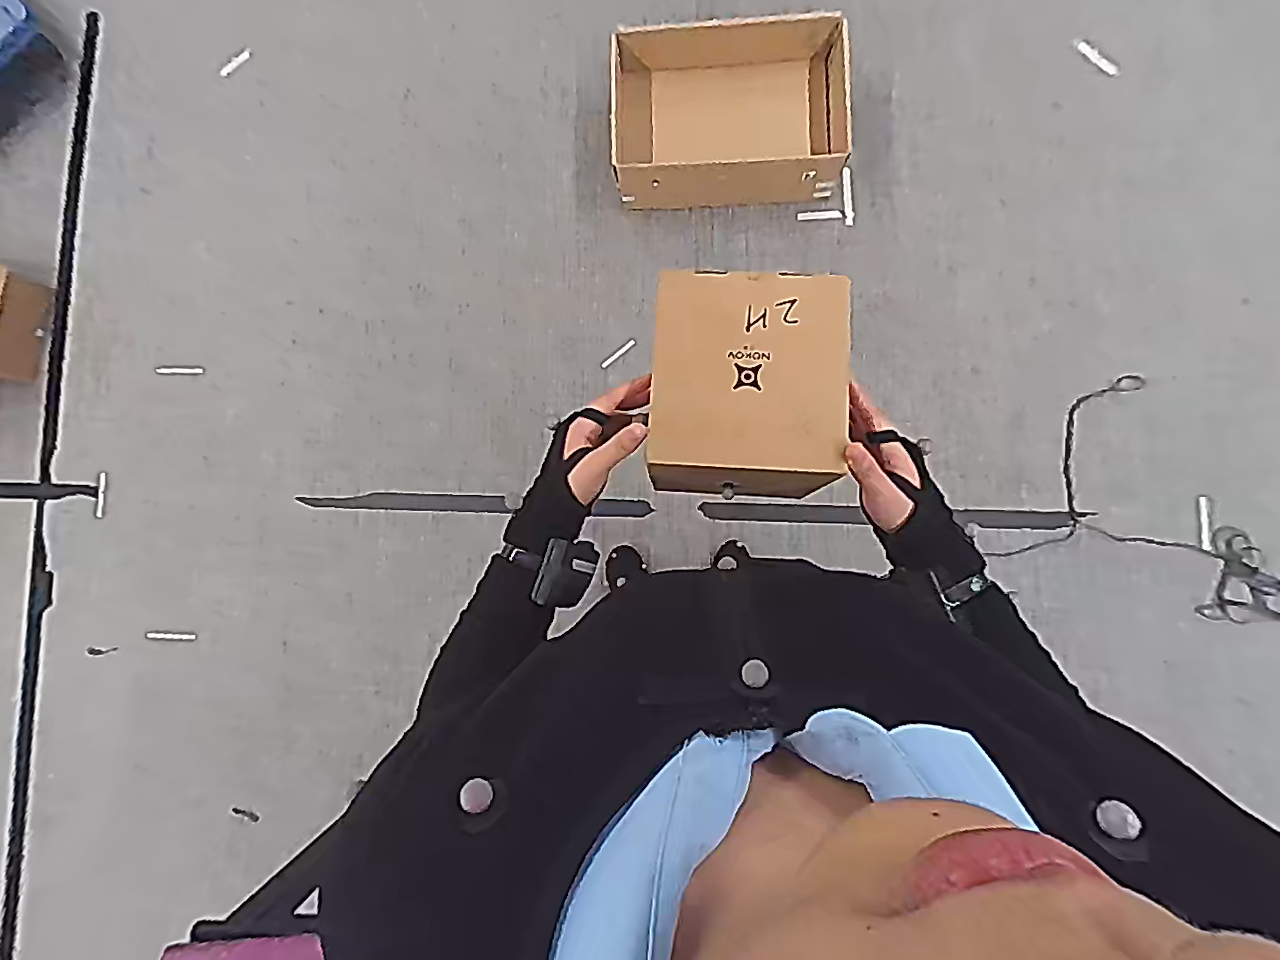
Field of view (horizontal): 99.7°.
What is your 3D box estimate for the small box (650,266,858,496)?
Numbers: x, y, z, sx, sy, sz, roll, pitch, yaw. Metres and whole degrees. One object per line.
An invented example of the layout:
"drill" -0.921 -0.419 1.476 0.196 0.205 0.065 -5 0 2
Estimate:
"small box" 0.101 -0.083 0.530 0.168 0.176 0.179 4 80 3
